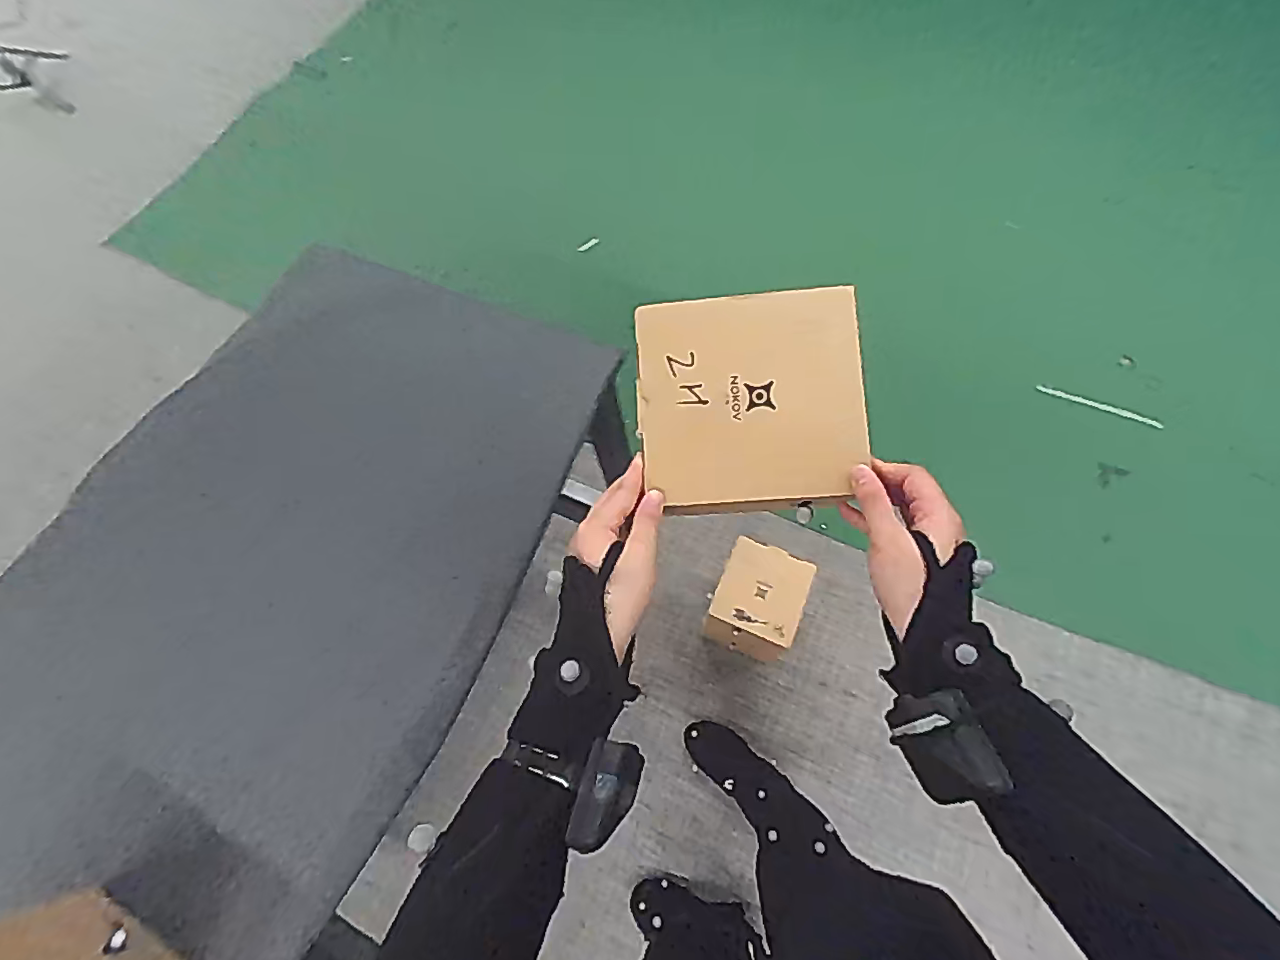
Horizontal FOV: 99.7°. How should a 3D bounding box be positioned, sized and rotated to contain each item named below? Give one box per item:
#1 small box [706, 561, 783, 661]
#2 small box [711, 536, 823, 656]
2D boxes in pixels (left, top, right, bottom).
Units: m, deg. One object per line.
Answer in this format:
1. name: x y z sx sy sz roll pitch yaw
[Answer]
1. small box: 0.264 0.312 1.268 0.179 0.176 0.168 20 70 14
2. small box: 0.254 0.244 1.117 0.168 0.176 0.179 23 71 13
